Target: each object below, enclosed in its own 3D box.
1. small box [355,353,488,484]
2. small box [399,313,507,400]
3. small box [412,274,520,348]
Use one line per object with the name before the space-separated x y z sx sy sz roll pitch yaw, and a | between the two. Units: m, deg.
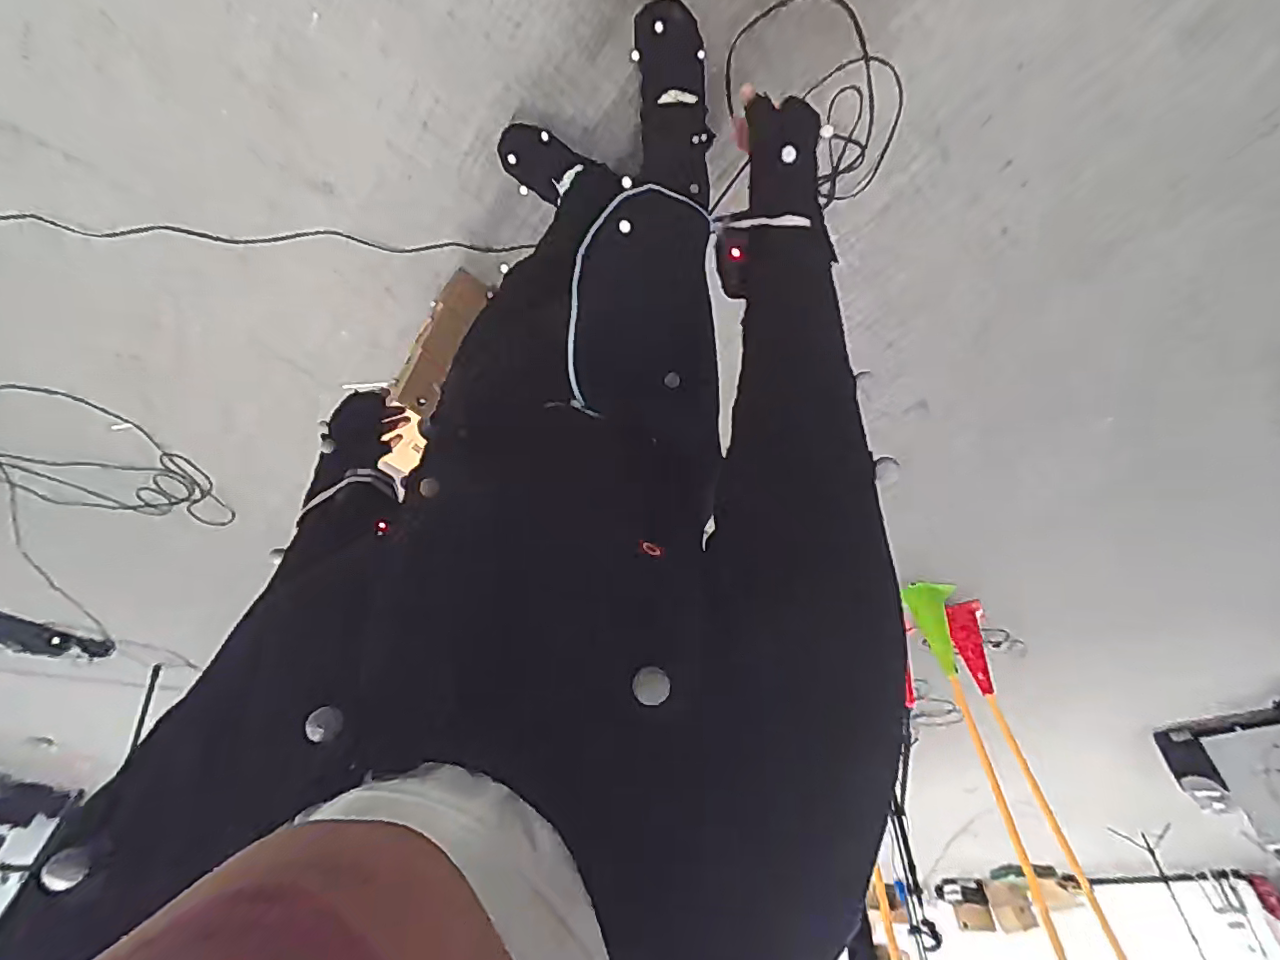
small box | -0.444 -0.128 1.126 0.168 0.176 0.179 -30 128 32
small box | -0.430 -0.251 1.230 0.179 0.176 0.168 32 130 -29
small box | -0.424 -0.379 1.338 0.179 0.176 0.168 31 134 -25
